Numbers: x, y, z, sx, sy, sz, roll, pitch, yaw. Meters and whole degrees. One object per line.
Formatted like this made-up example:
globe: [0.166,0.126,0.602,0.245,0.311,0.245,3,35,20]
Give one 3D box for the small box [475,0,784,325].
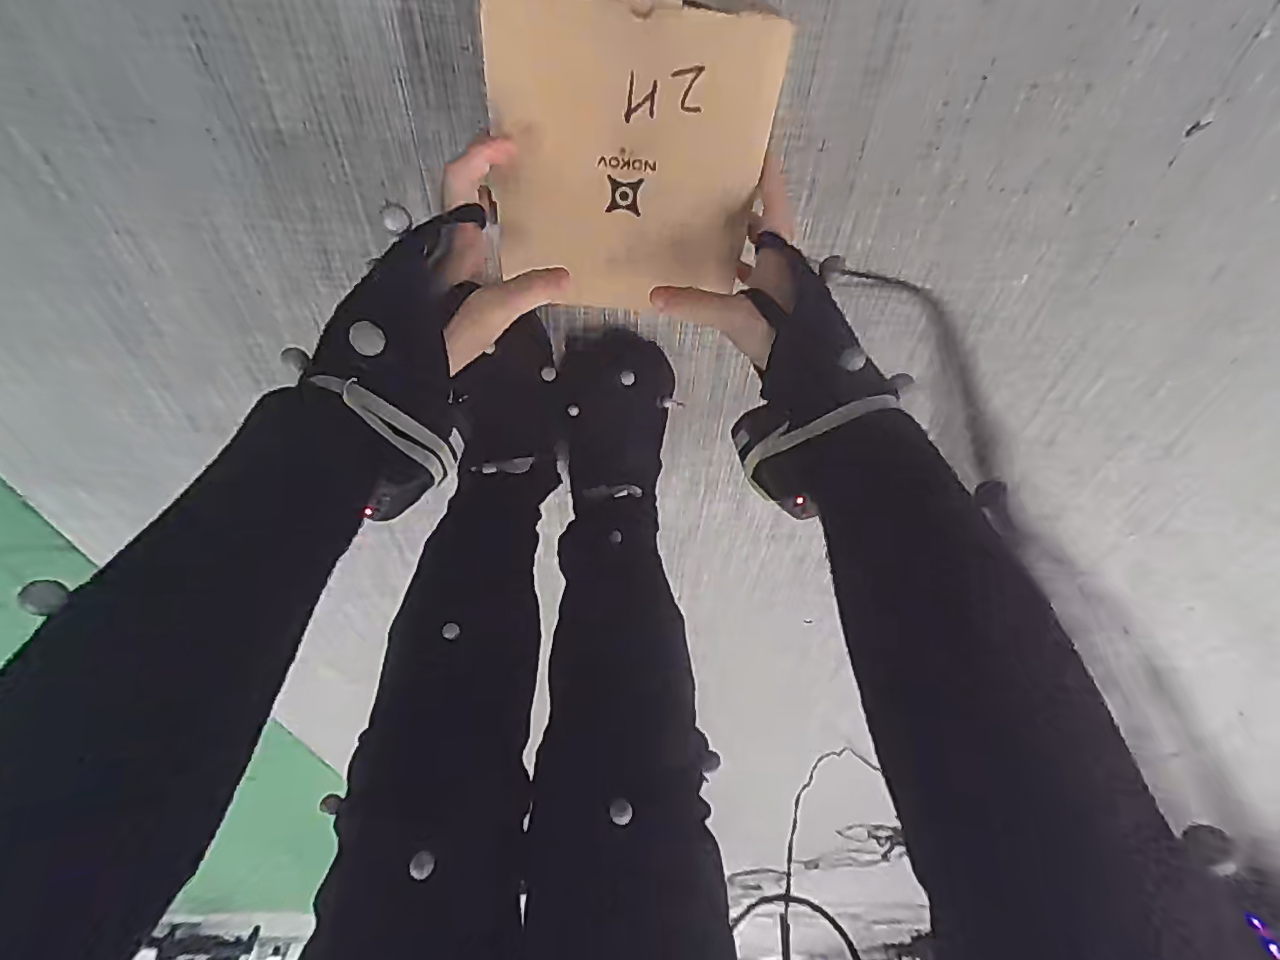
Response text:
small box: [-0.012,-0.239,0.394,0.168,0.176,0.179,3,136,-5]
